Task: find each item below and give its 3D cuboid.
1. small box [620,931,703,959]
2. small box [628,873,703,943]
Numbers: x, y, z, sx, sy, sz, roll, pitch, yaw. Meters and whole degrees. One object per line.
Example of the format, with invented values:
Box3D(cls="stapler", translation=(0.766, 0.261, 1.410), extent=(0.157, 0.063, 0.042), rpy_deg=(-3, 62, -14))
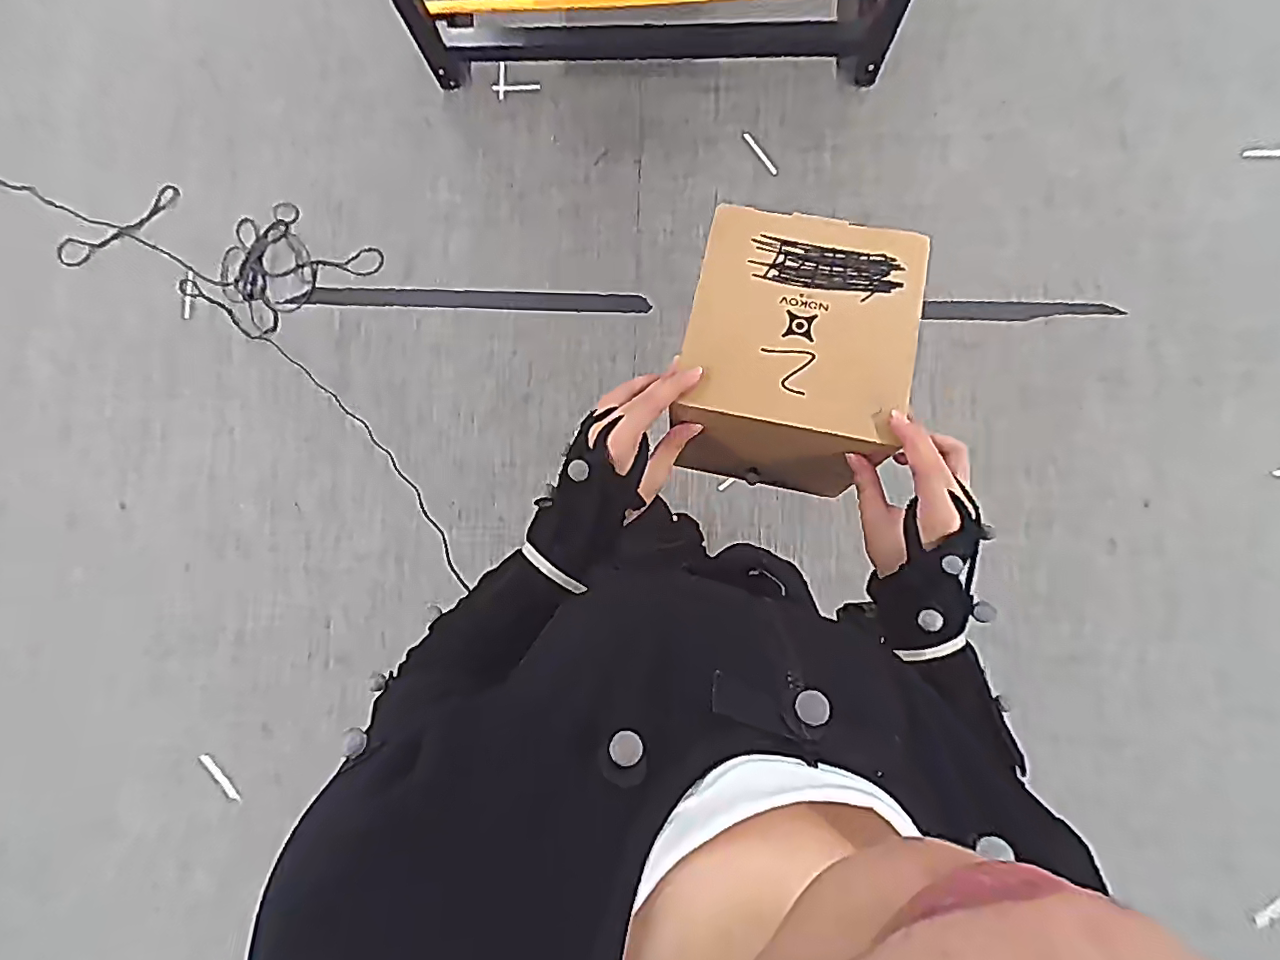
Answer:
Box3D(cls="small box", translation=(0.047, 1.066, 1.103), extent=(0.179, 0.176, 0.168), rpy_deg=(-4, 87, 4))
Box3D(cls="small box", translation=(0.055, 1.066, 1.266), extent=(0.168, 0.176, 0.179), rpy_deg=(4, 88, 4))
